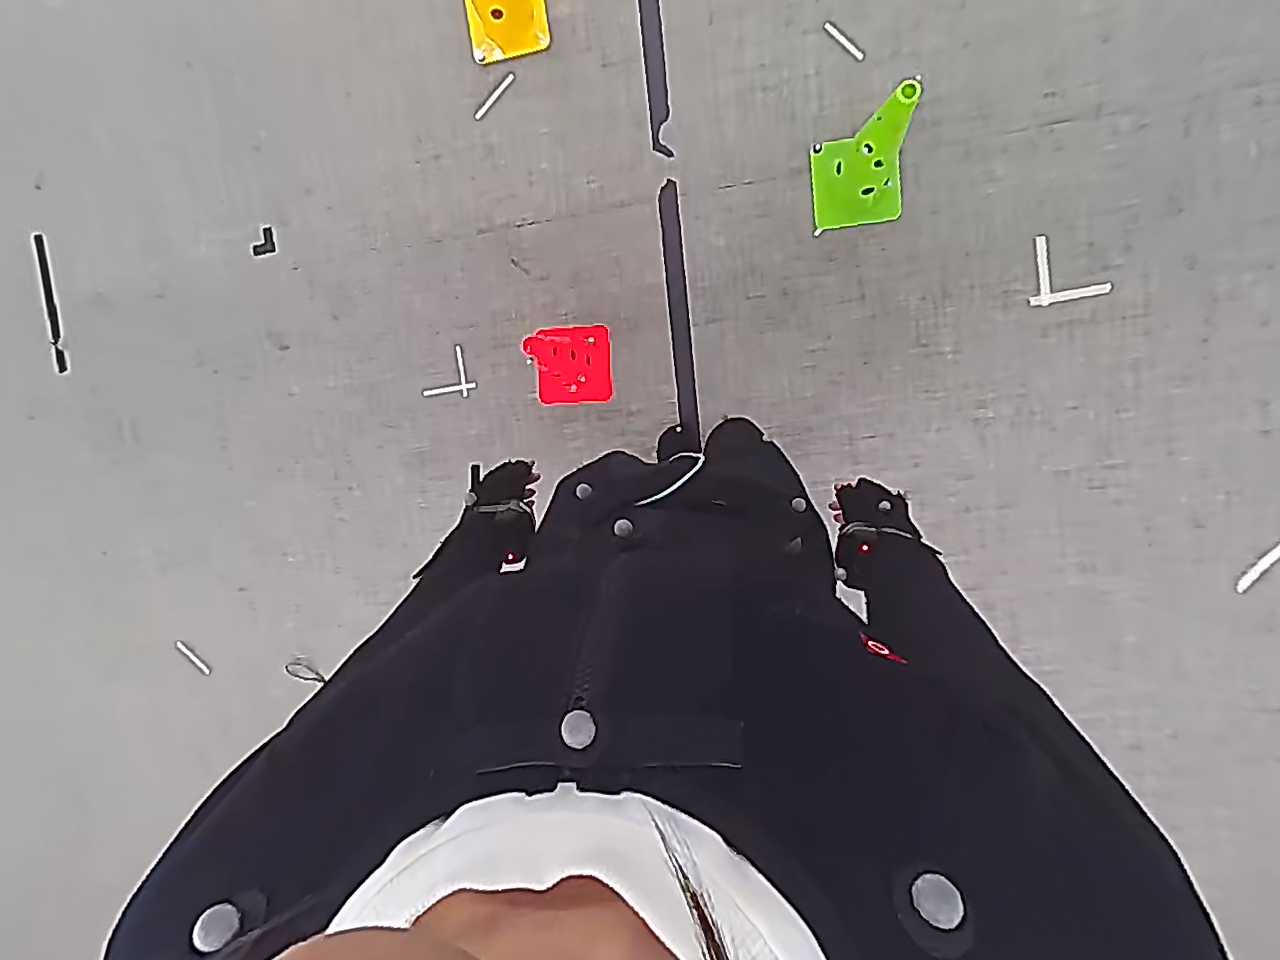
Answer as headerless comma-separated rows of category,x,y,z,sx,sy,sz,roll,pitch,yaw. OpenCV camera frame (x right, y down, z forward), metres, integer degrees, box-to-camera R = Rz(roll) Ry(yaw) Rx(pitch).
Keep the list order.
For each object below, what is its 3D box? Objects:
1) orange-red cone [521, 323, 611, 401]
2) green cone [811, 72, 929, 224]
orange-red cone,-0.198,-0.294,1.247,0.199,0.360,0.198,-1,95,9
green cone,0.494,-0.700,1.112,0.202,0.368,0.200,-6,96,7
